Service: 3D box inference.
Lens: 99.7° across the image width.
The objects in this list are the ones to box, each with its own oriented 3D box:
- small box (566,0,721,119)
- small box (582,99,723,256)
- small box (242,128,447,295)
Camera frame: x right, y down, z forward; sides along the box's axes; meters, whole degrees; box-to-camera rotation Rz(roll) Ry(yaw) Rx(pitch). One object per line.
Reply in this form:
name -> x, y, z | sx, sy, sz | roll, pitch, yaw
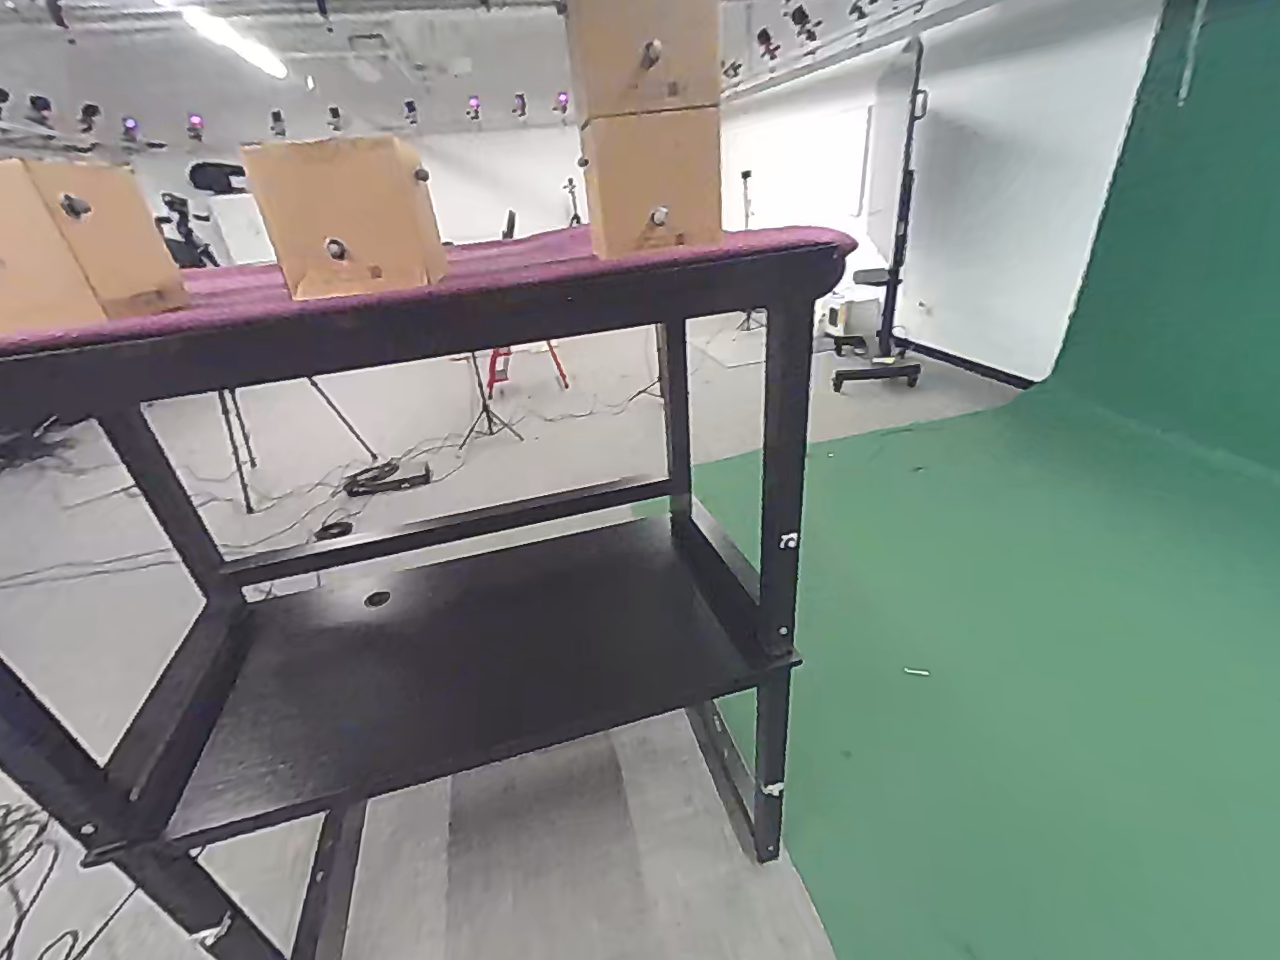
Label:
small box -> -0.001, -0.562, 0.682 | 0.168, 0.176, 0.179 | -10, 30, -5
small box -> 0.014, -0.418, 0.761 | 0.168, 0.176, 0.179 | -10, 30, -5
small box -> -0.360, -0.343, 0.702 | 0.168, 0.176, 0.179 | -10, 29, -7
